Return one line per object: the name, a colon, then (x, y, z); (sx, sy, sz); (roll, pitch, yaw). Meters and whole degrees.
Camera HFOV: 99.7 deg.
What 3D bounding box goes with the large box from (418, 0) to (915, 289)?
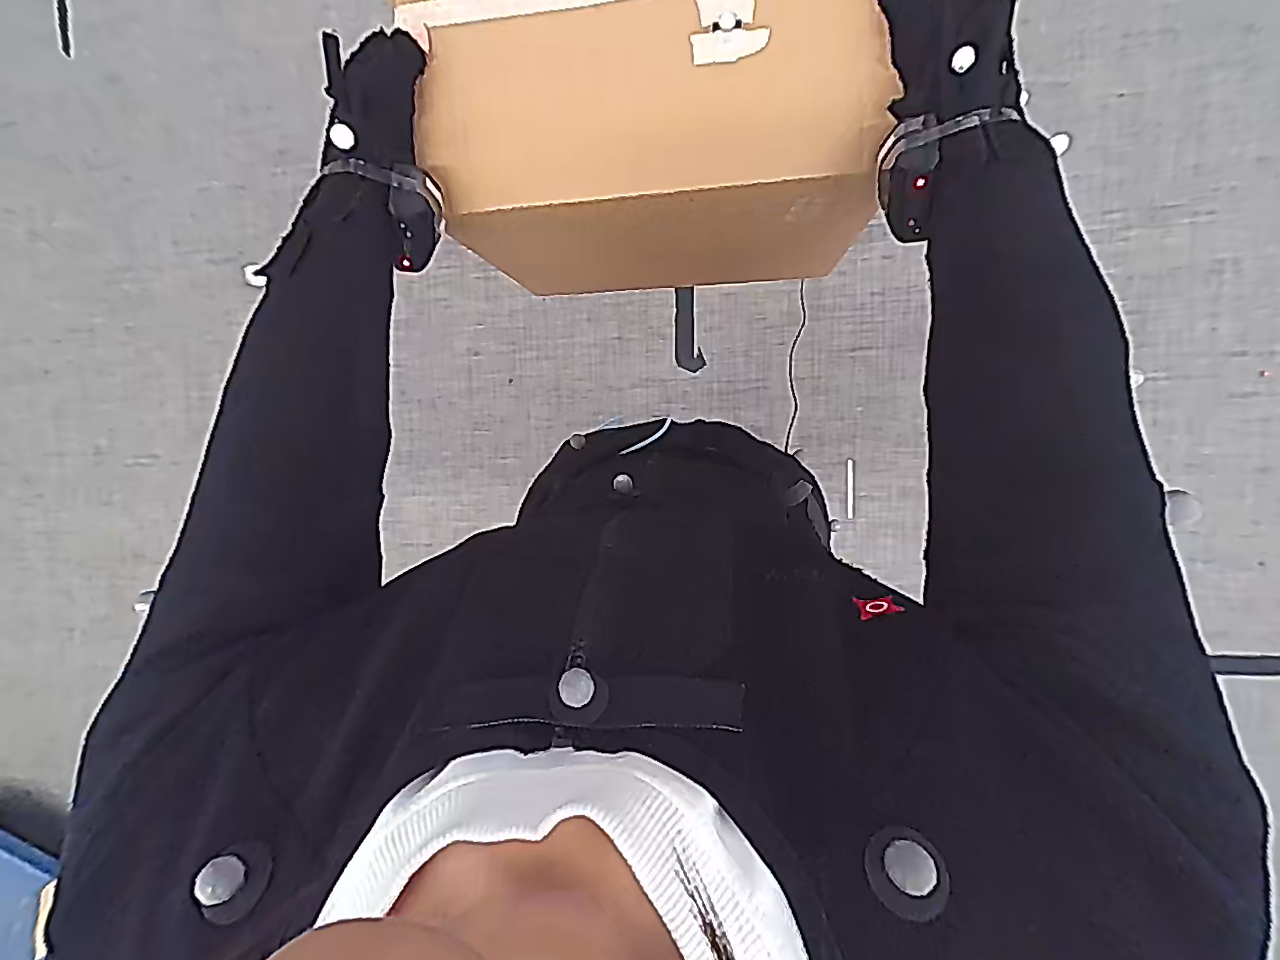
large box: (0.026, -0.412, 0.577); (0.408, 0.320, 0.320); (-2, 97, 7)
